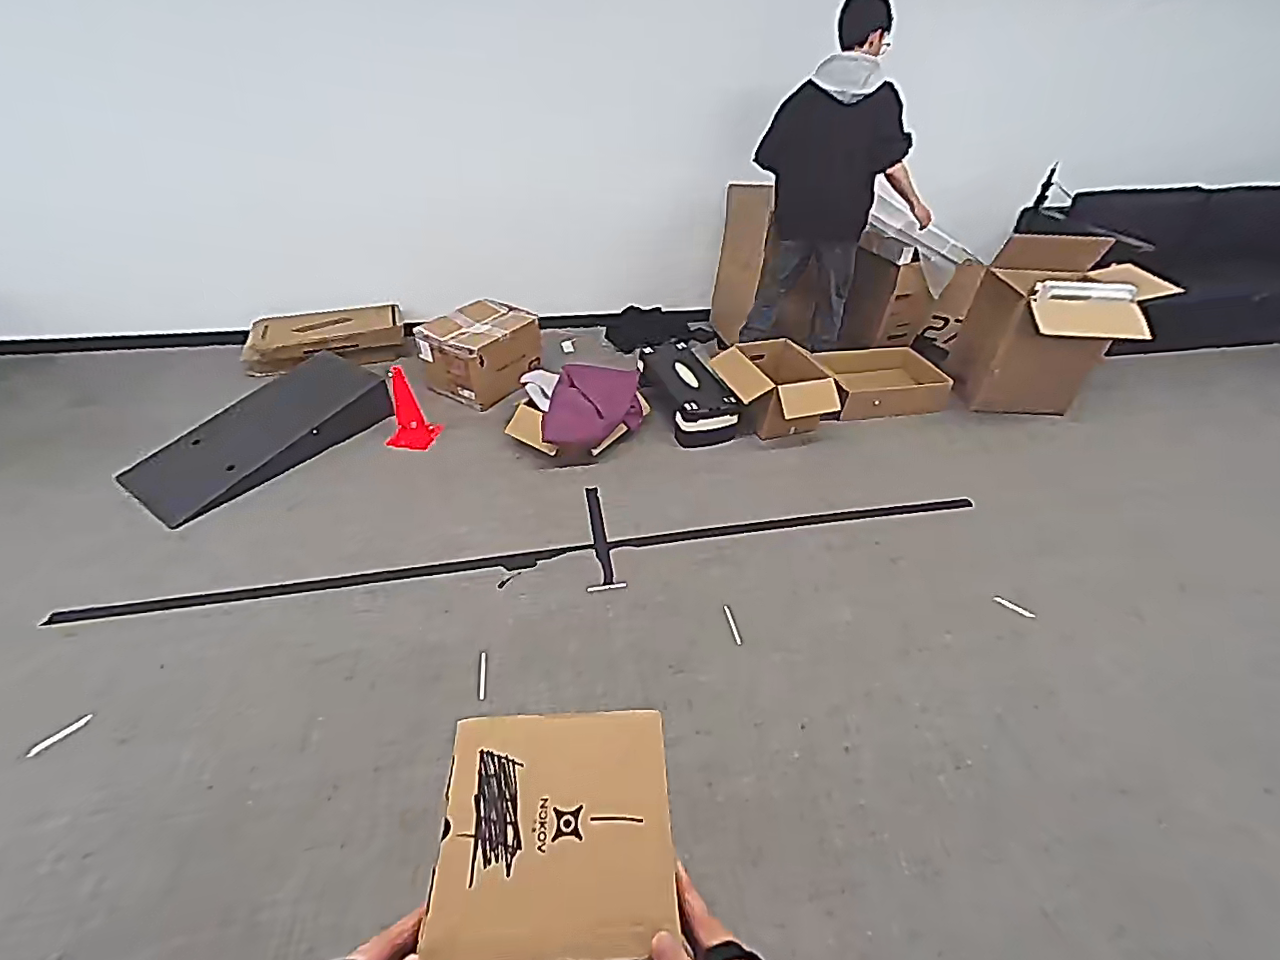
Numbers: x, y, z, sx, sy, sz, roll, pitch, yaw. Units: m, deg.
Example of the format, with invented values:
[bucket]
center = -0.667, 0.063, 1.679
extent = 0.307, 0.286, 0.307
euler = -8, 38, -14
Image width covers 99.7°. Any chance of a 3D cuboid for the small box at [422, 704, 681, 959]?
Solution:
[small box]
center = -0.064, 0.314, 0.470
extent = 0.179, 0.176, 0.168
euler = -1, 45, -4
